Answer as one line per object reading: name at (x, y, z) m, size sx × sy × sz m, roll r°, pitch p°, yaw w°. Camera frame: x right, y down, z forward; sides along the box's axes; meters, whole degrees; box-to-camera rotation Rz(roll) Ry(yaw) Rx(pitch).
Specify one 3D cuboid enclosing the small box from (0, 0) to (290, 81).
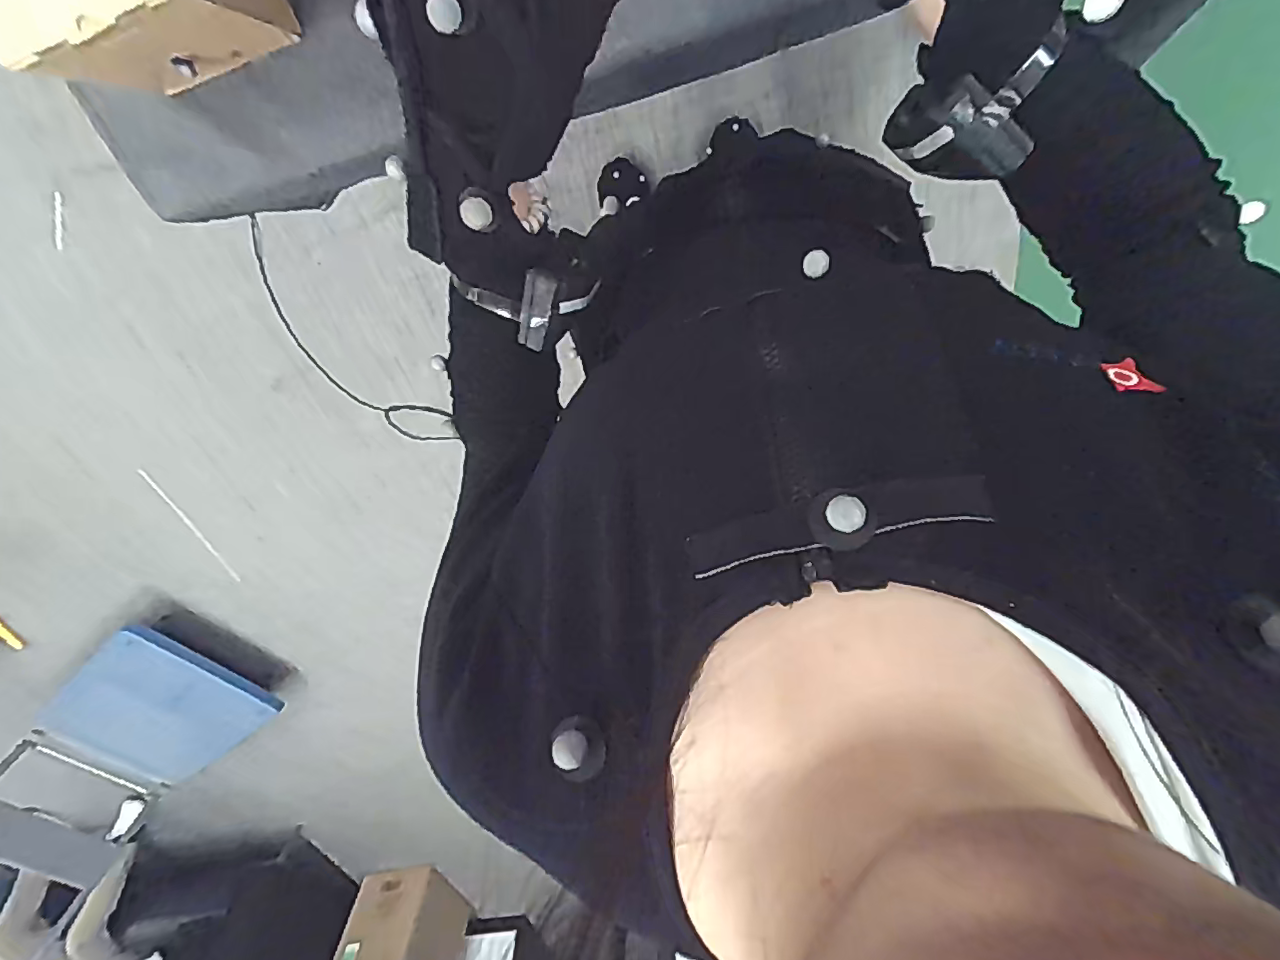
small box at (-0.433, -0.450, 0.425) m, size 0.168 × 0.176 × 0.179 m, roll -15°, pitch 121°, yaw 9°
